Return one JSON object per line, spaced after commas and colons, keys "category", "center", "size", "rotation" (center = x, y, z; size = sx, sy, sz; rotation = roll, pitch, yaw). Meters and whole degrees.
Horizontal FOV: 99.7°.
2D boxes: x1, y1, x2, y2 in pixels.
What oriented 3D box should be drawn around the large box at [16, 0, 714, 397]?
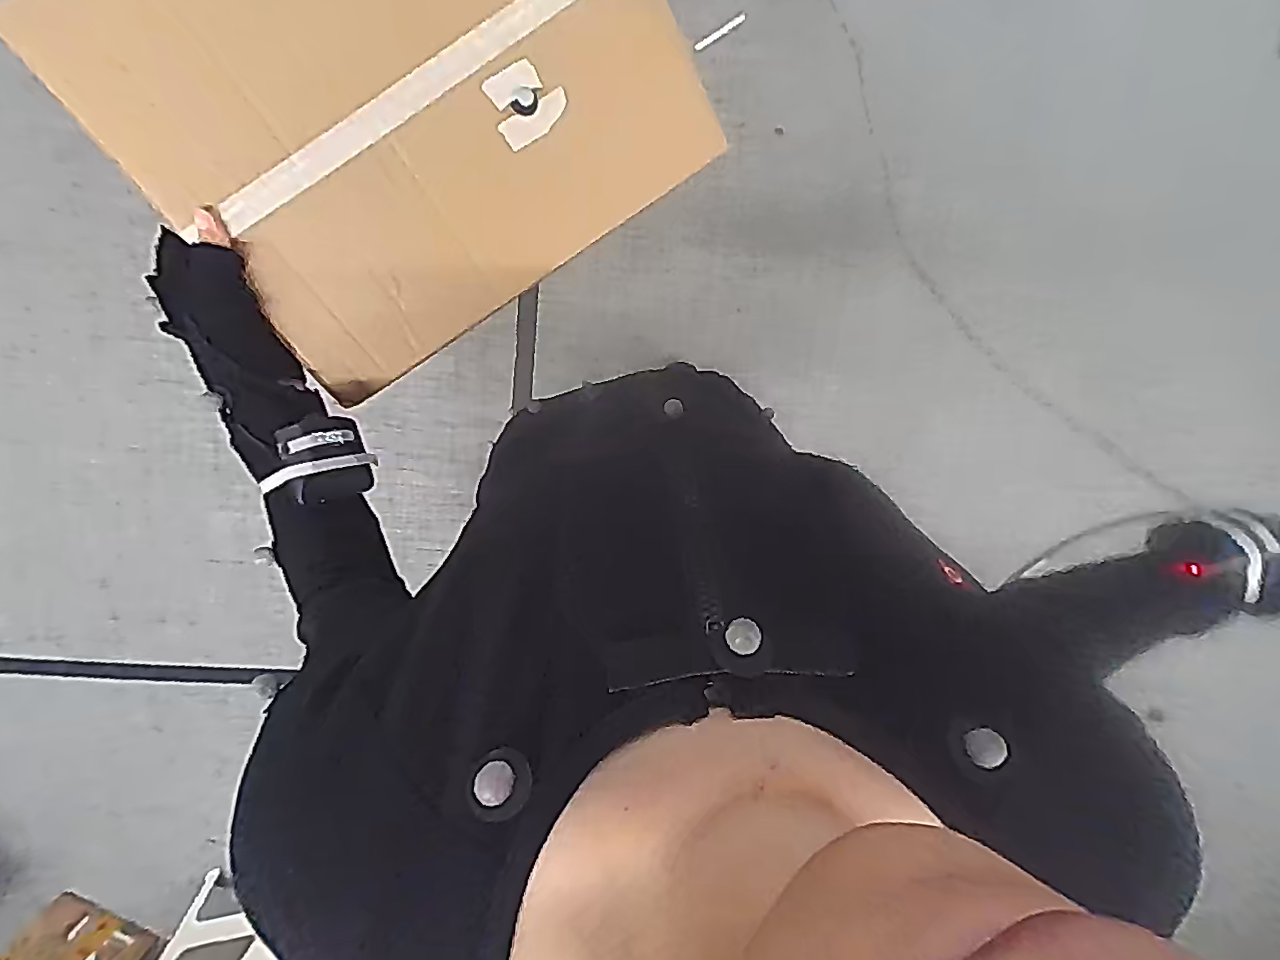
{"category": "large box", "center": [-0.209, -0.343, 0.550], "size": [0.408, 0.320, 0.320], "rotation": [-35, 115, -2]}
